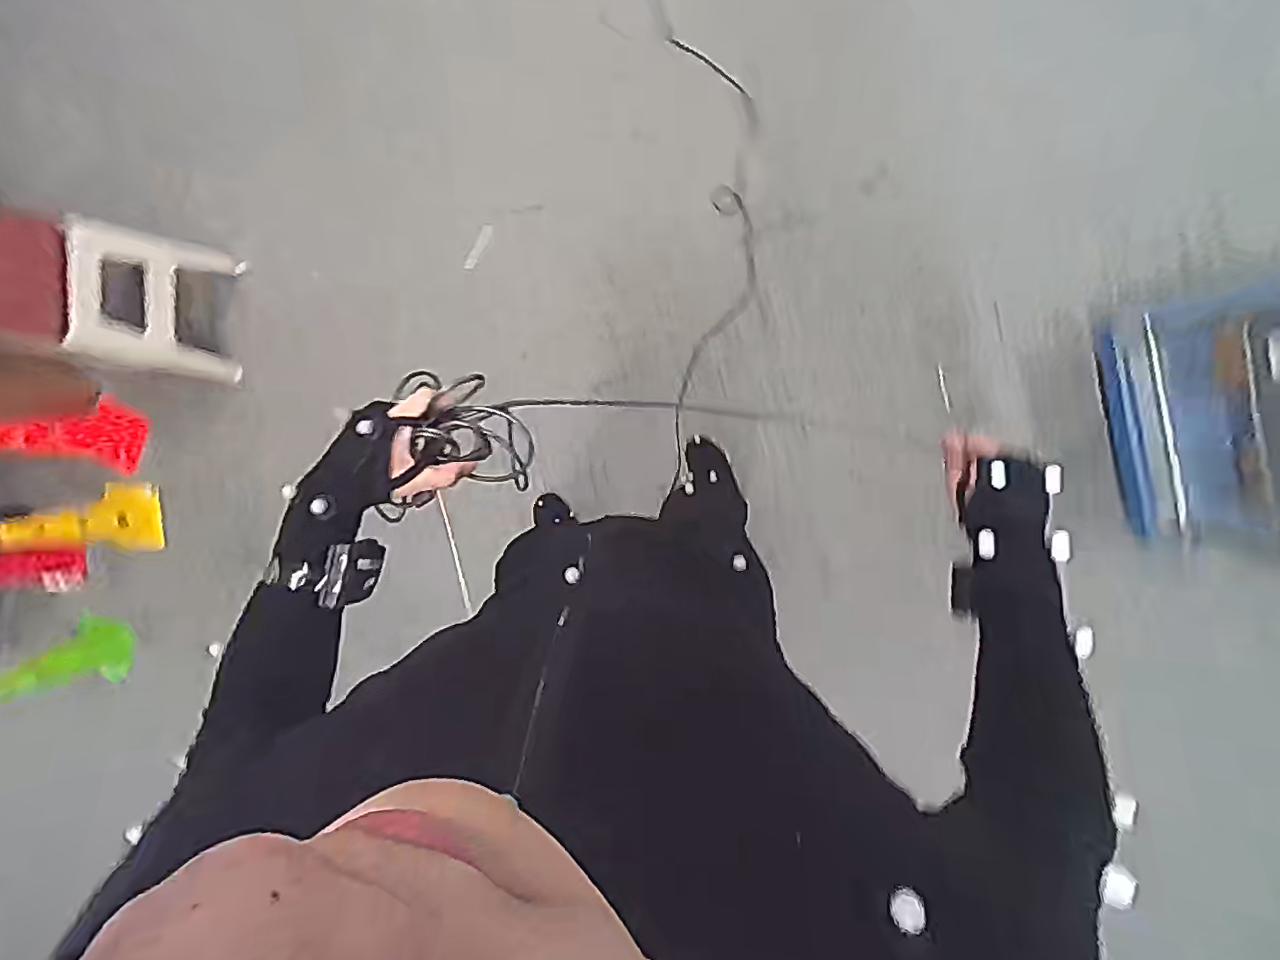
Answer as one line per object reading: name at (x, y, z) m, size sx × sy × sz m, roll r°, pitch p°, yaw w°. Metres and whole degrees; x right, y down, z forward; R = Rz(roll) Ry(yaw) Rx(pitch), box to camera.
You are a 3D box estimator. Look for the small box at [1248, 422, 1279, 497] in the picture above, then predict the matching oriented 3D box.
small box at (1.508, -0.055, 1.174) m, size 0.179 × 0.176 × 0.168 m, roll -13°, pitch 93°, yaw 9°
